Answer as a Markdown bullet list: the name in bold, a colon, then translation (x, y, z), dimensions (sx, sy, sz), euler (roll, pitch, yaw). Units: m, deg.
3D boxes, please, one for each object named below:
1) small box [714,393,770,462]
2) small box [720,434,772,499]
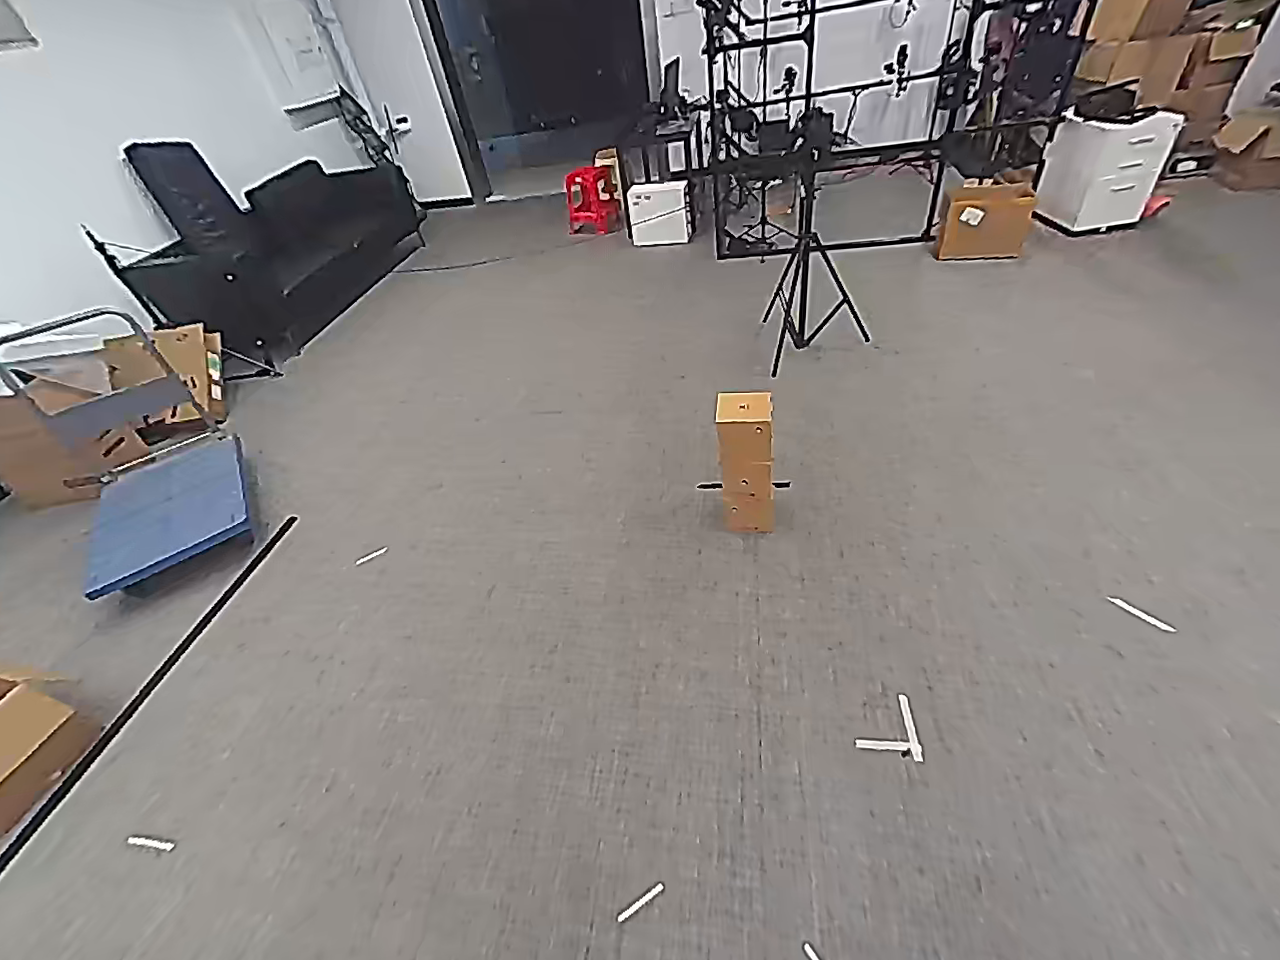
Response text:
- **small box**: translation (0.342, -0.171, 1.797), dimensions (0.179, 0.176, 0.168), euler (0, 42, 12)
- **small box**: translation (0.376, -0.048, 1.898), dimensions (0.168, 0.176, 0.179), euler (3, 42, 15)
